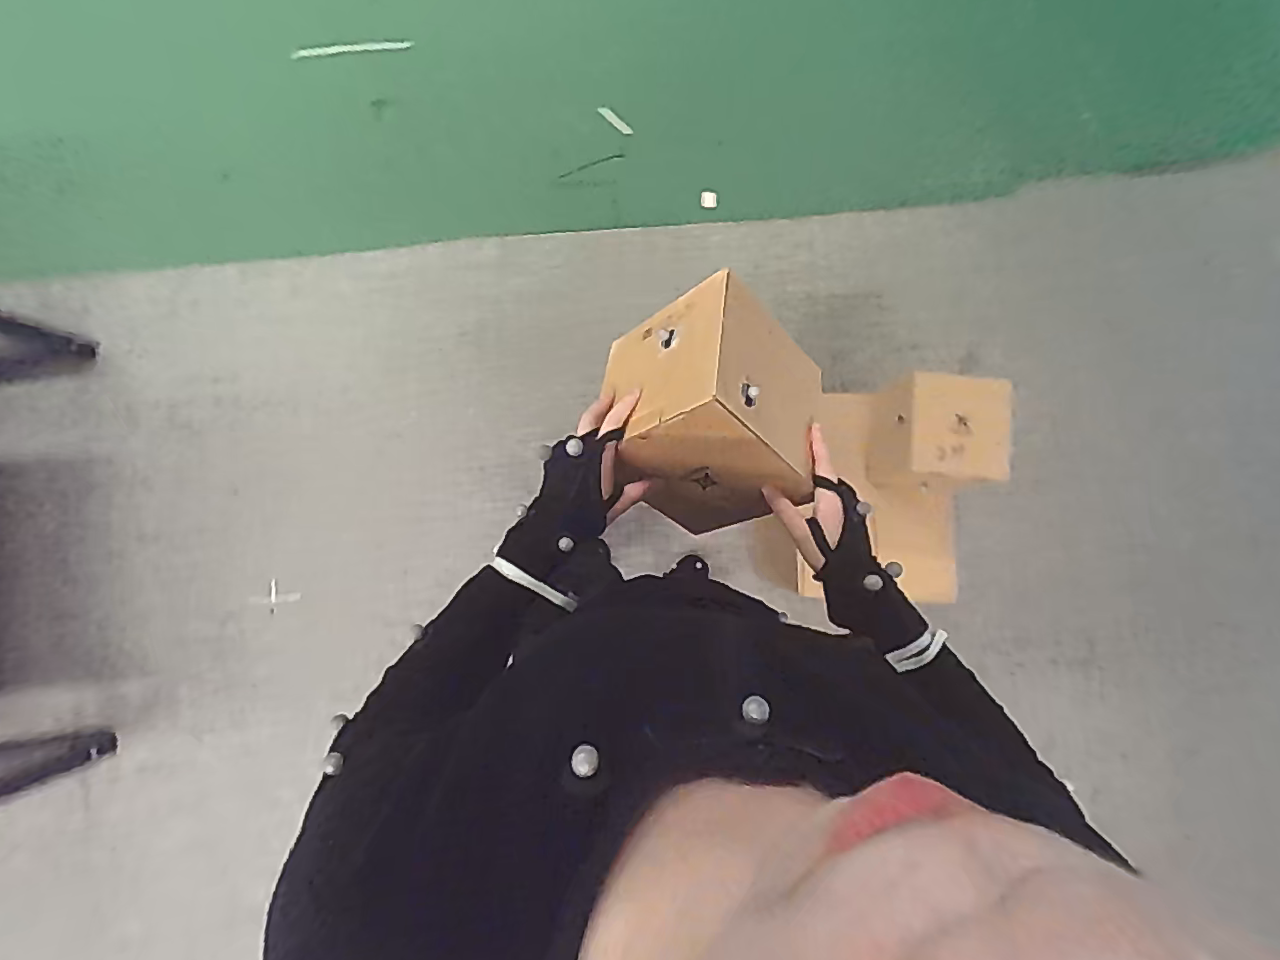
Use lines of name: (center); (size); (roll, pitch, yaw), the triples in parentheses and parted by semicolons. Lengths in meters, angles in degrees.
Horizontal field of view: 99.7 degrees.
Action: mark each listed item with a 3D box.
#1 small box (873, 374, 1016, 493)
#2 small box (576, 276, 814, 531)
small box: (0.539, -0.077, 0.977); (0.168, 0.176, 0.179); (6, 85, 1)
small box: (0.064, -0.072, 0.566); (0.179, 0.168, 0.176); (33, 51, -31)
